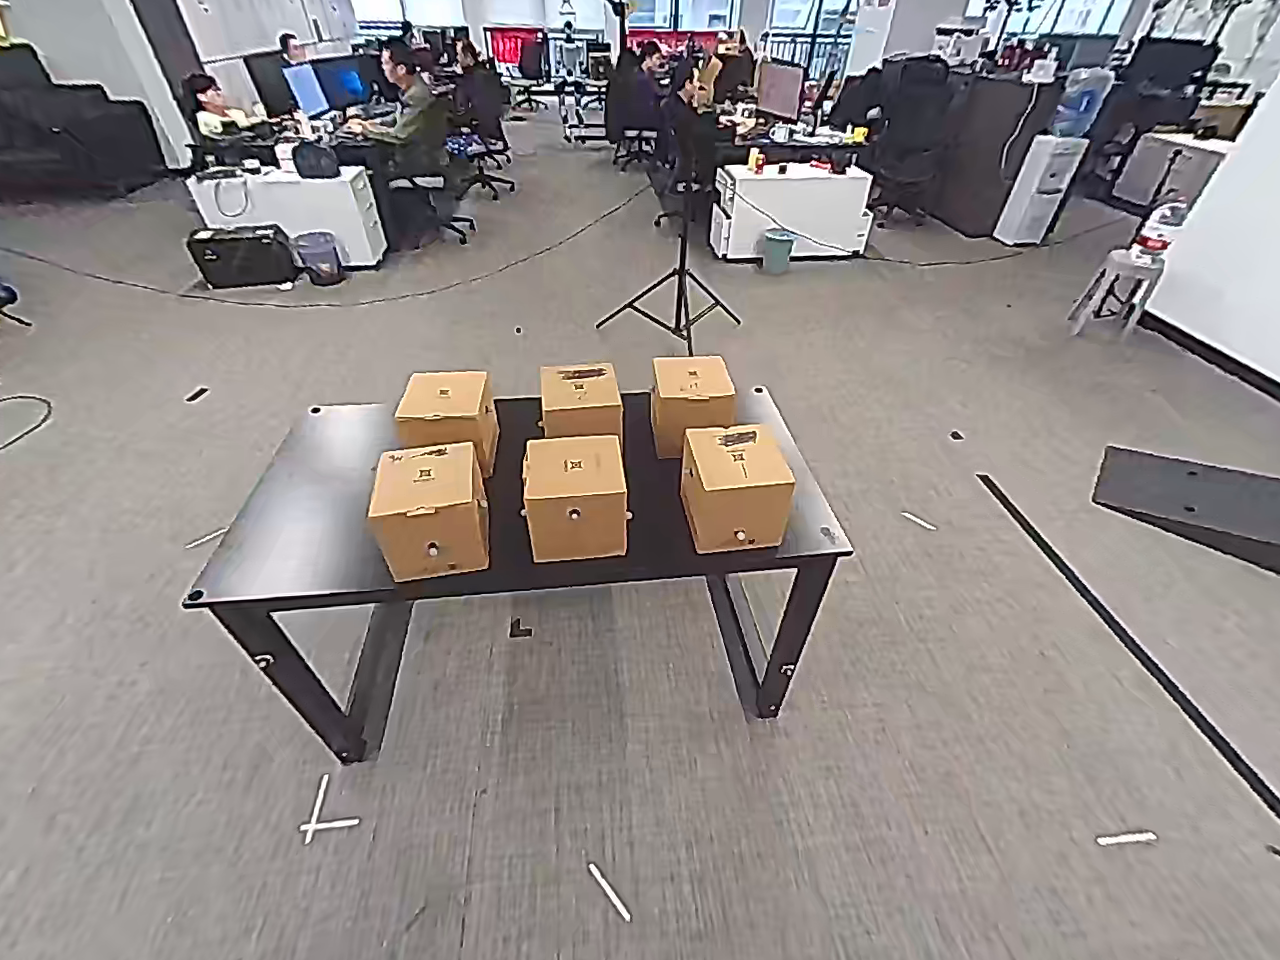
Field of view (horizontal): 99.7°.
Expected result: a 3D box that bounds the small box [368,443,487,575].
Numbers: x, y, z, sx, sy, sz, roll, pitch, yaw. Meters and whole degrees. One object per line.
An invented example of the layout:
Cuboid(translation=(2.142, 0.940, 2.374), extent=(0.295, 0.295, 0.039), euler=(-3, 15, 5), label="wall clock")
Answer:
Cuboid(translation=(-0.379, 0.058, 0.996), extent=(0.168, 0.176, 0.179), euler=(-8, 42, -10), label="small box")

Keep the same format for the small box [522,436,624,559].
Cuboid(translation=(-0.124, 0.035, 1.029), extent=(0.179, 0.176, 0.168), euler=(-4, 42, -7), label="small box")

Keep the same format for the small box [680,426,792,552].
Cuboid(translation=(0.174, 0.016, 1.052), extent=(0.168, 0.176, 0.179), euler=(-5, 41, -6), label="small box")

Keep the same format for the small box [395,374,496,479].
Cuboid(translation=(-0.419, -0.118, 1.198), extent=(0.168, 0.176, 0.179), euler=(-3, 42, -5), label="small box")

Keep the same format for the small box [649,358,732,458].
Cuboid(translation=(0.111, -0.170, 1.266), extent=(0.168, 0.176, 0.179), euler=(-3, 41, -3), label="small box")
